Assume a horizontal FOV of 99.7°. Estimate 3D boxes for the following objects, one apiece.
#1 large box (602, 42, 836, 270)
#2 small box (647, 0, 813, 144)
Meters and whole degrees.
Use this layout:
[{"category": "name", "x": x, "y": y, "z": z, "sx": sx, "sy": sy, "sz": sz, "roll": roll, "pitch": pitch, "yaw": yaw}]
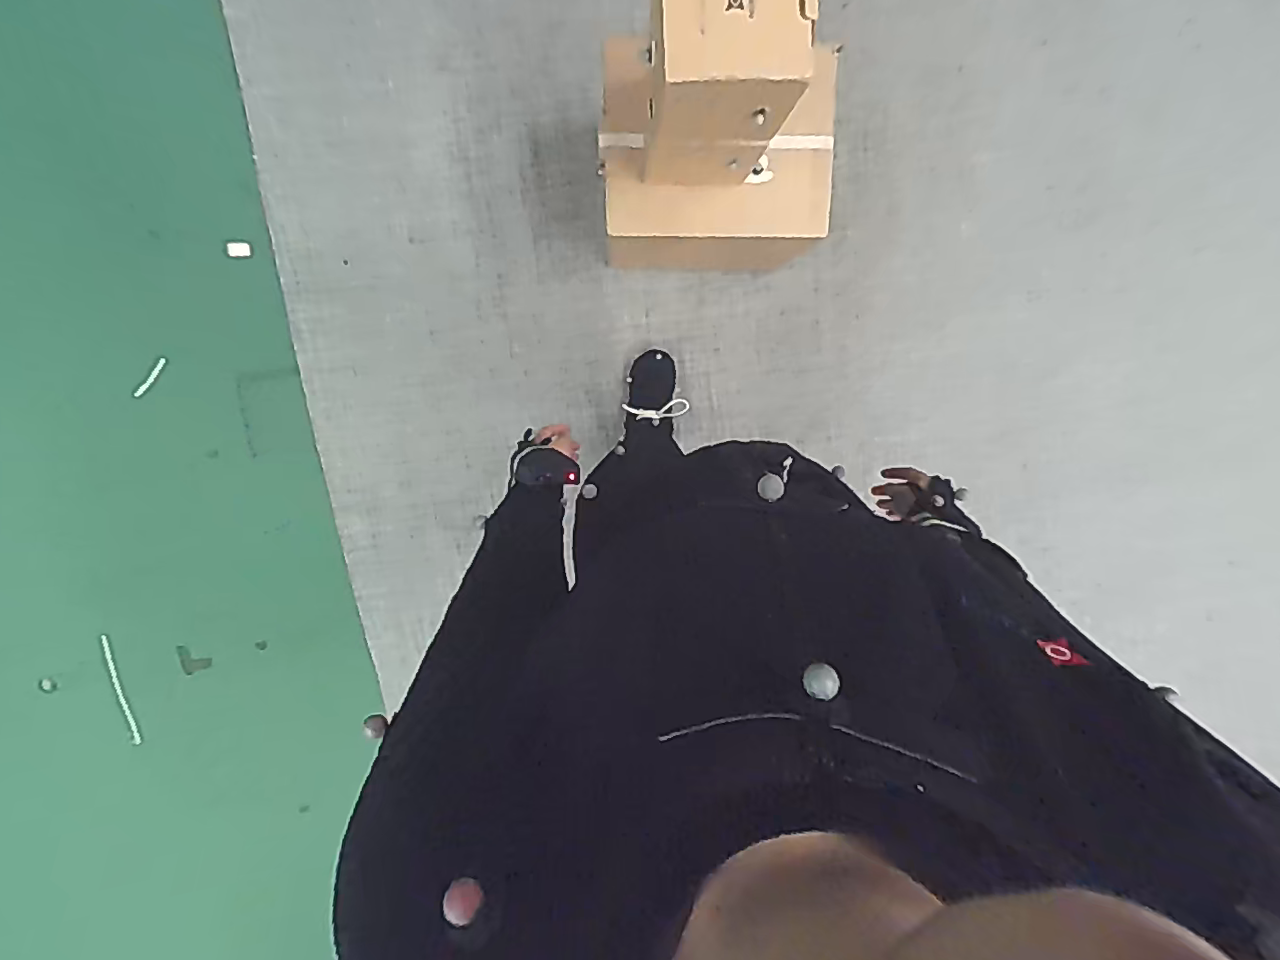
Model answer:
[{"category": "large box", "x": 0.133, "y": -0.617, "z": 1.088, "sx": 0.408, "sy": 0.320, "sz": 0.320, "roll": -1, "pitch": 102, "yaw": -3}, {"category": "small box", "x": 0.105, "y": -0.551, "z": 0.684, "sx": 0.179, "sy": 0.176, "sz": 0.168, "roll": -4, "pitch": 100, "yaw": -1}]
